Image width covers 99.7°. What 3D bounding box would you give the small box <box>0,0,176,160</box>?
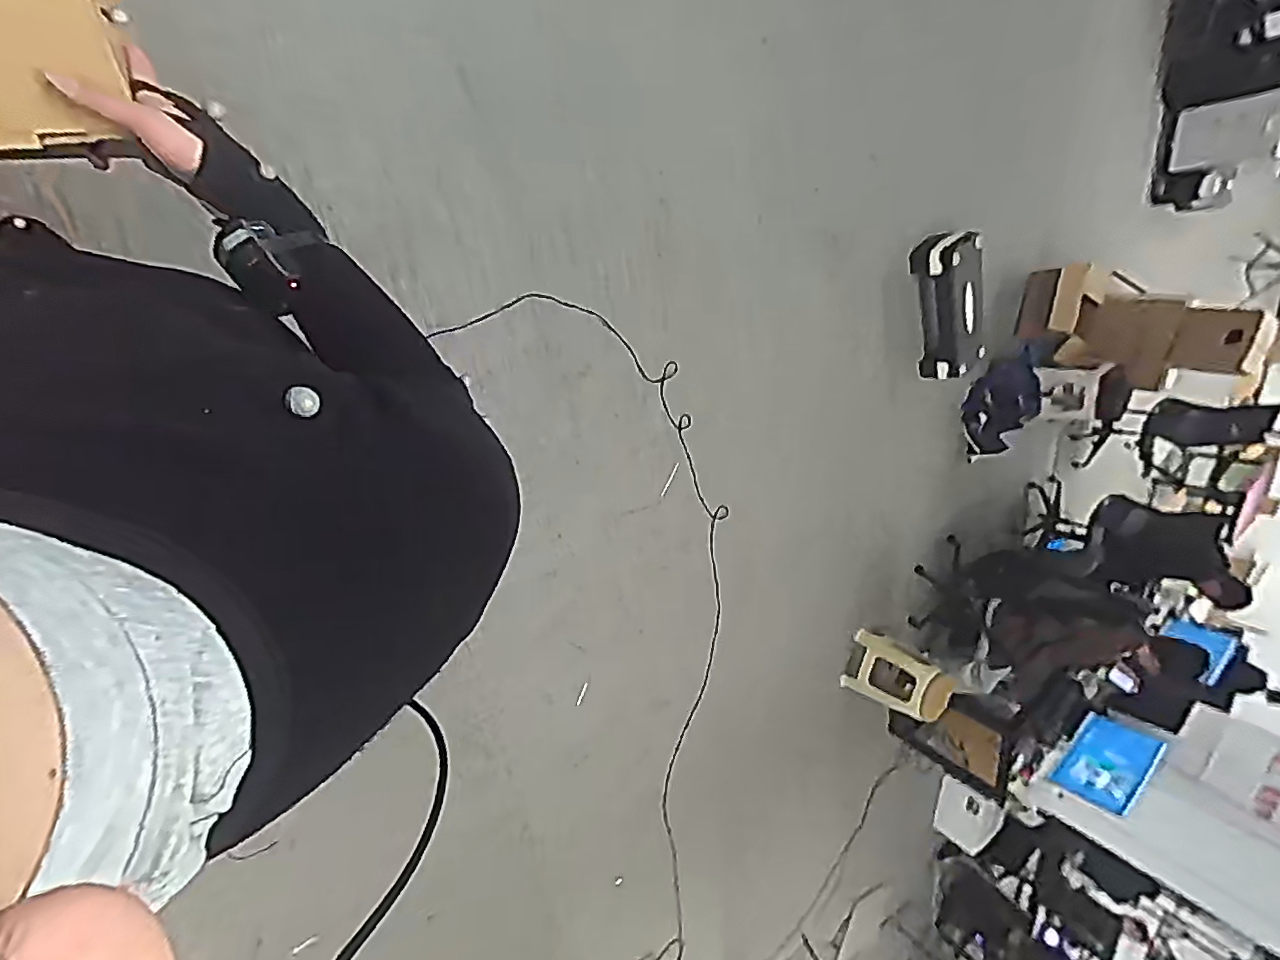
[{"bbox_3d":[-0.492,-0.346,0.407,0.168,0.176,0.179,-18,120,-25],"label":"small box"}]
